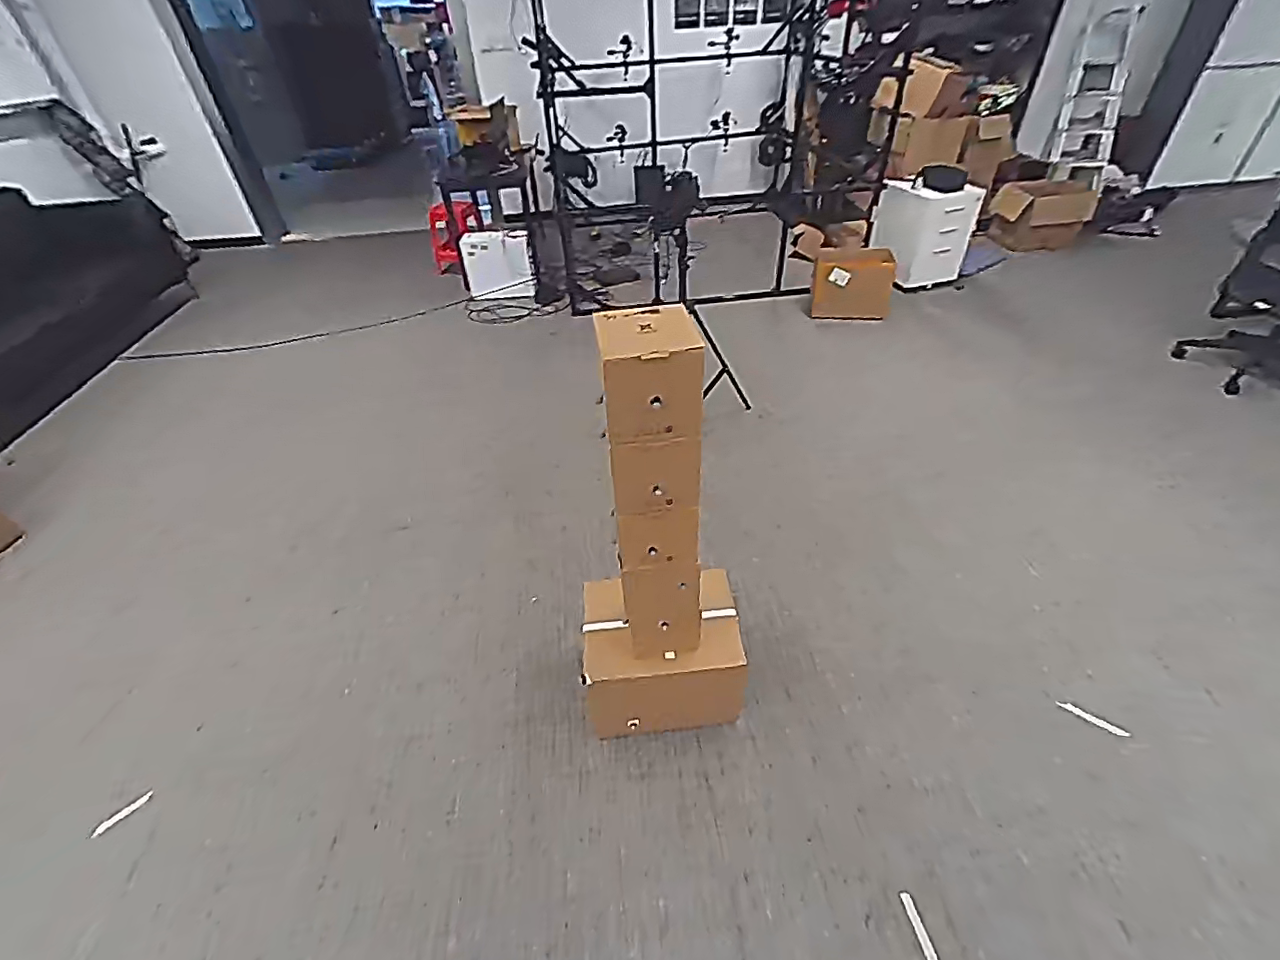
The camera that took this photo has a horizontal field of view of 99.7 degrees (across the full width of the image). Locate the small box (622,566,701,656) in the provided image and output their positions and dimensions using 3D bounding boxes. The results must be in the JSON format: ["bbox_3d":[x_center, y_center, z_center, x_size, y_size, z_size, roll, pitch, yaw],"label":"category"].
[{"bbox_3d":[0.052,0.326,1.366,0.179,0.176,0.168,-6,42,-5],"label":"small box"}]

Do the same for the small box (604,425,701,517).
[{"bbox_3d":[0.019,-0.053,1.056,0.168,0.176,0.179,-8,42,-4],"label":"small box"}]

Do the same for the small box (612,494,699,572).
[{"bbox_3d":[0.027,0.073,1.161,0.168,0.176,0.179,-6,42,-4],"label":"small box"}]

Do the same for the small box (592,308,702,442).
[{"bbox_3d":[0.011,-0.180,0.952,0.168,0.176,0.179,-8,42,-5],"label":"small box"}]
